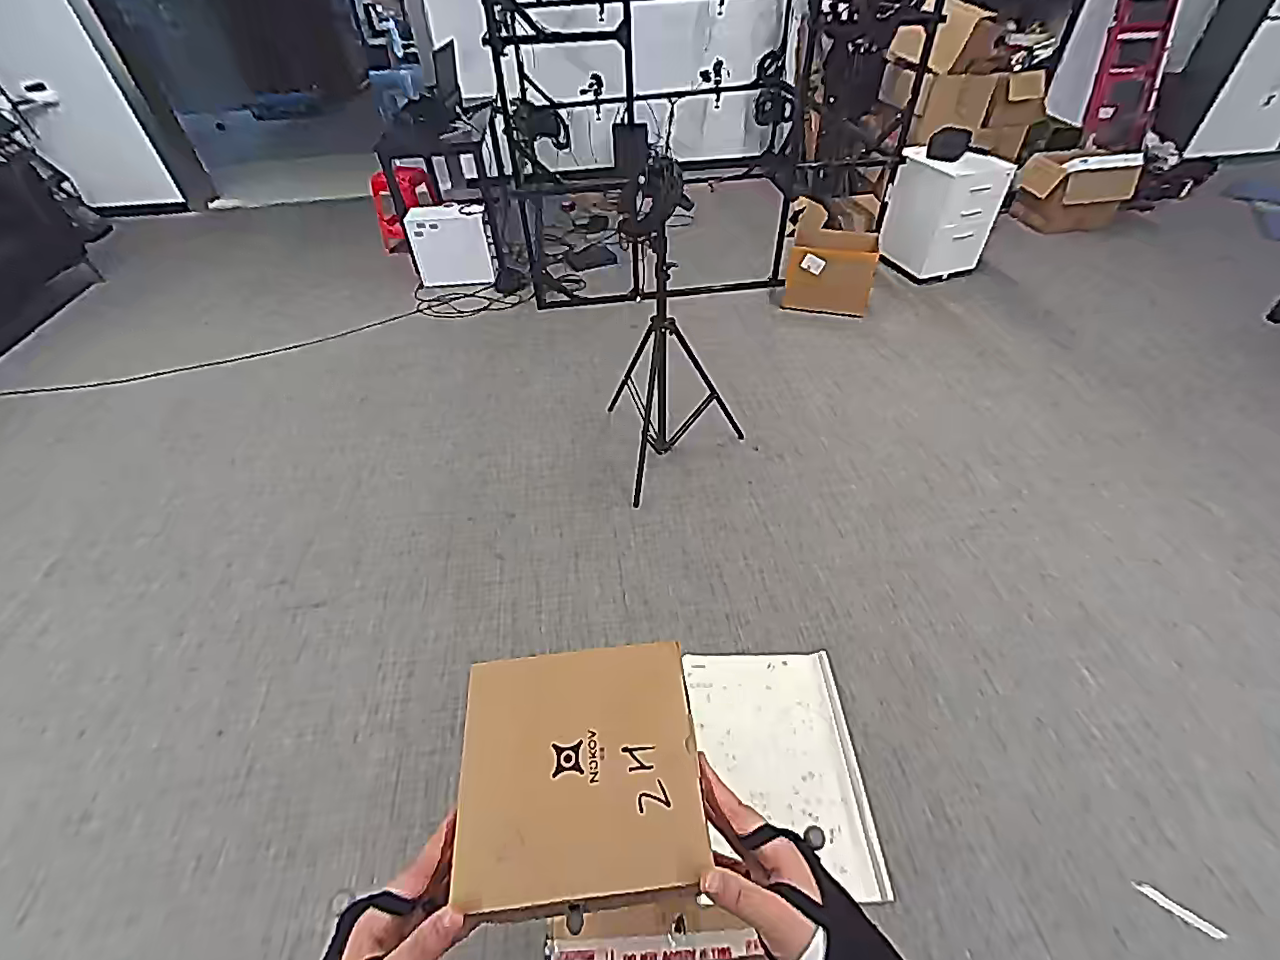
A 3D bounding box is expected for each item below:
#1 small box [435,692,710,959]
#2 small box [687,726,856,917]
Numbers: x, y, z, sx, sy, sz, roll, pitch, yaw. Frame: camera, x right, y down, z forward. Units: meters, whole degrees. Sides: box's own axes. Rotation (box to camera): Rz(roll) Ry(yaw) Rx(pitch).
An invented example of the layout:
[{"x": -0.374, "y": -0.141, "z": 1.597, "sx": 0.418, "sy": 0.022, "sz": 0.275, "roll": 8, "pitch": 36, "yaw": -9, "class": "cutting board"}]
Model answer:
[{"x": -0.045, "y": 0.292, "z": 0.444, "sx": 0.179, "sy": 0.176, "sz": 0.168, "roll": -5, "pitch": 50, "yaw": -3, "class": "small box"}, {"x": 0.143, "y": 0.430, "z": 0.682, "sx": 0.168, "sy": 0.176, "sz": 0.179, "roll": 0, "pitch": 47, "yaw": -1, "class": "small box"}]
